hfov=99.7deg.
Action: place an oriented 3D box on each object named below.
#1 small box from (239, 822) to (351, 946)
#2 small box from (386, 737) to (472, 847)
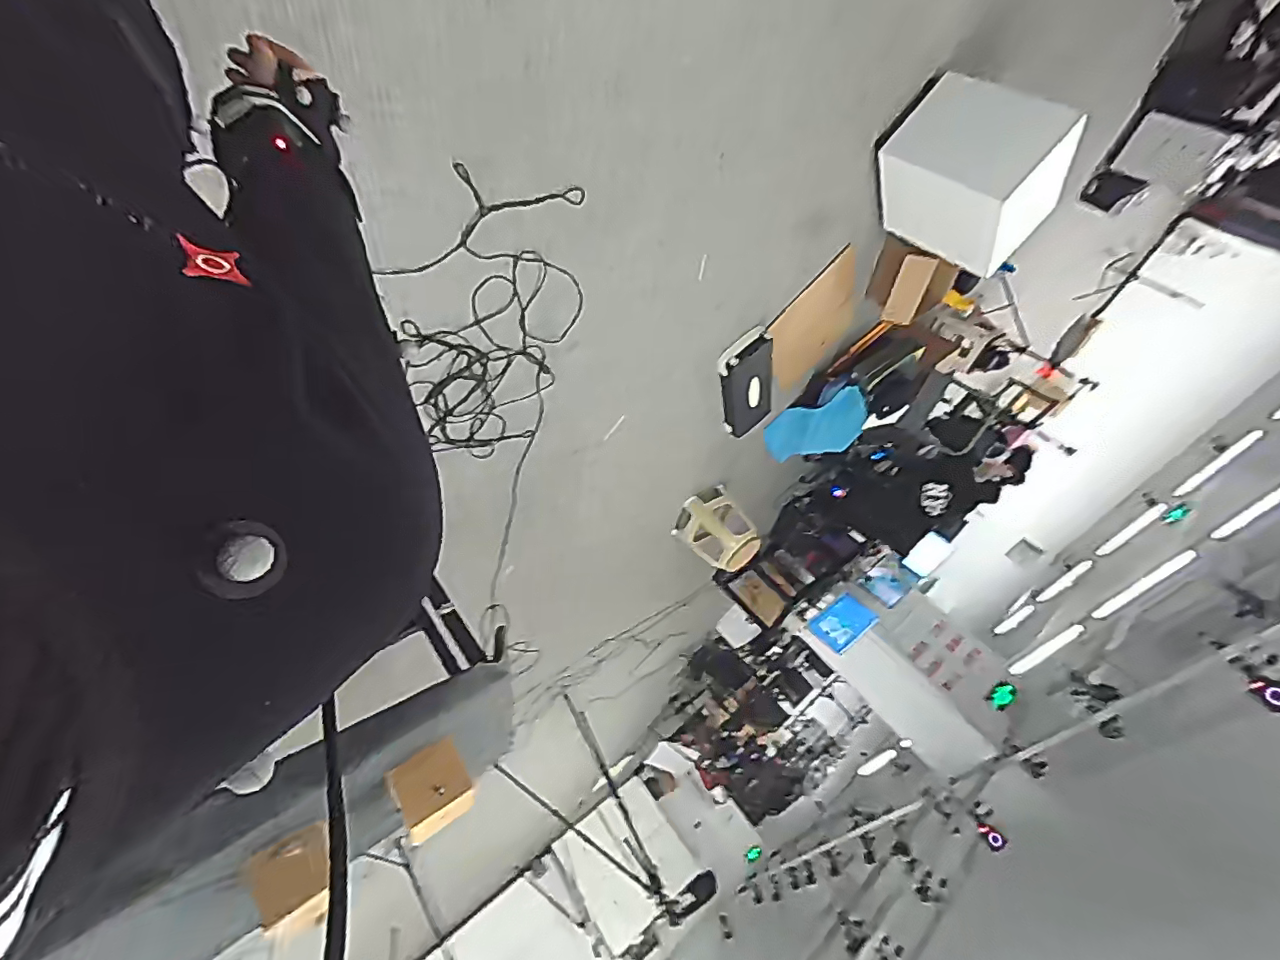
[{"bbox_3d":[-0.831,0.971,1.309,0.168,0.176,0.179,-27,147,-34],"label":"small box"},{"bbox_3d":[-0.587,0.858,1.495,0.179,0.176,0.168,-23,145,-38],"label":"small box"}]
